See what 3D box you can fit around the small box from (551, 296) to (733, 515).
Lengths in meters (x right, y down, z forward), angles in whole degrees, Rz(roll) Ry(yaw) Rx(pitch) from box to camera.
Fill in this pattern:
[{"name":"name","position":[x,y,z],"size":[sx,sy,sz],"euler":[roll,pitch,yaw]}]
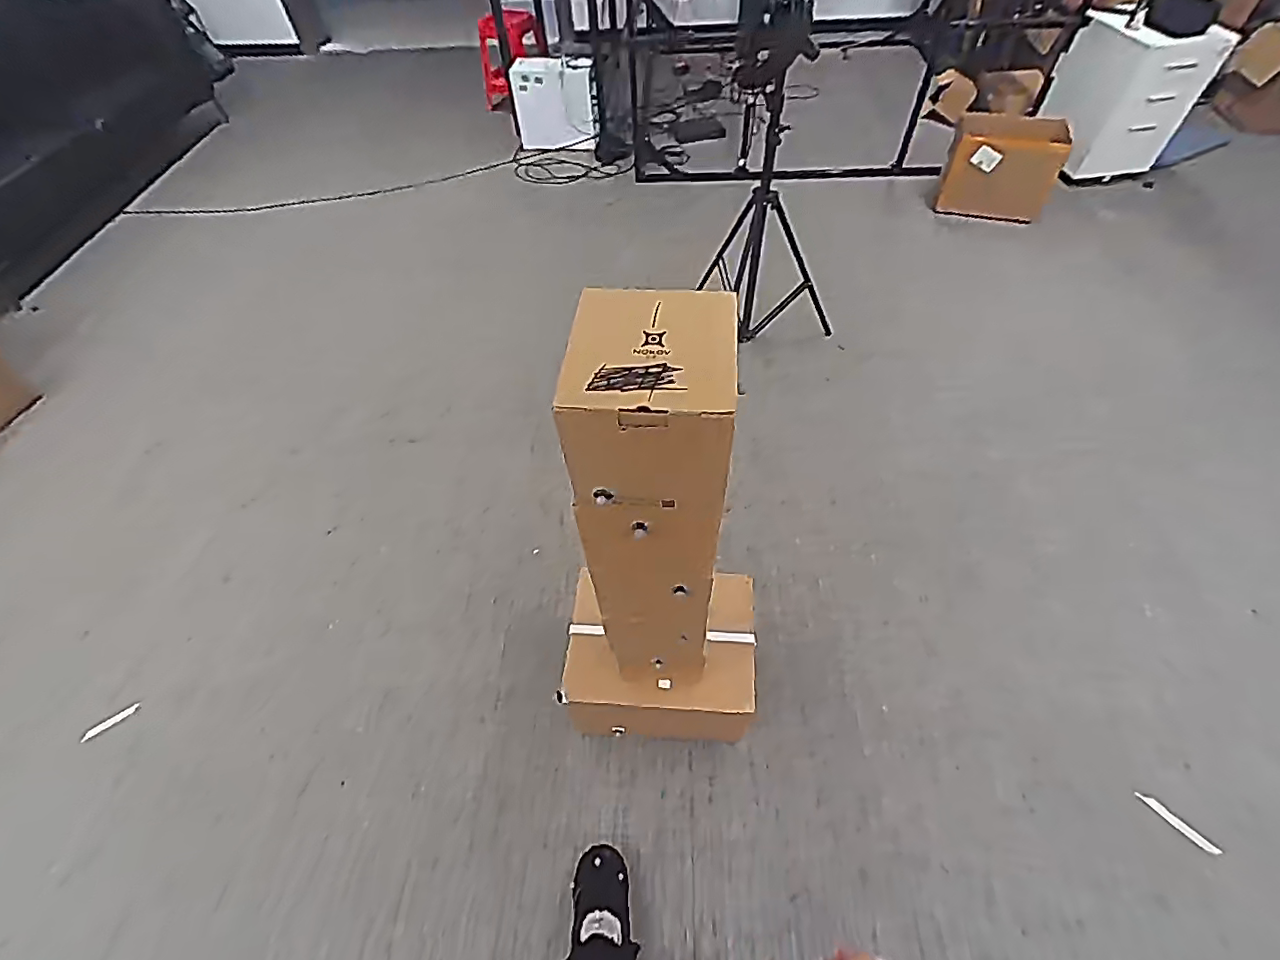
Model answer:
[{"name":"small box","position":[0.013,-0.077,0.591],"size":[0.168,0.176,0.179],"euler":[3,54,6]}]

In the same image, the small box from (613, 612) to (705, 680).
[{"name":"small box","position":[0.041,0.309,1.119],"size":[0.179,0.176,0.168],"euler":[1,55,2]}]

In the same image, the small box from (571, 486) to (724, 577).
[{"name":"small box","position":[0.017,0.019,0.724],"size":[0.179,0.176,0.168],"euler":[3,55,6]}]

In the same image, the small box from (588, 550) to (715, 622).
[{"name":"small box","position":[0.025,0.115,0.854],"size":[0.179,0.176,0.168],"euler":[3,54,5]}]
